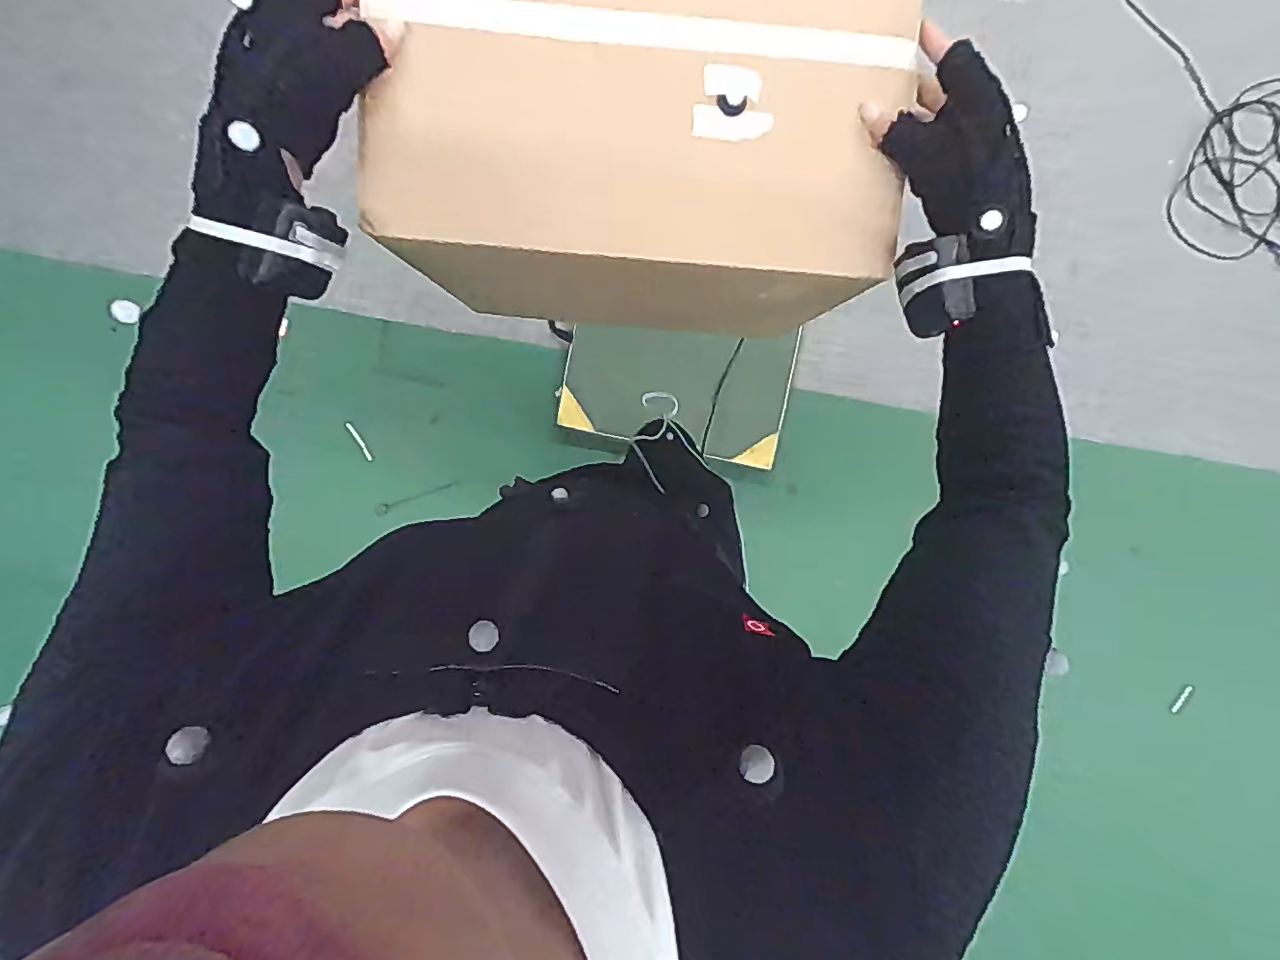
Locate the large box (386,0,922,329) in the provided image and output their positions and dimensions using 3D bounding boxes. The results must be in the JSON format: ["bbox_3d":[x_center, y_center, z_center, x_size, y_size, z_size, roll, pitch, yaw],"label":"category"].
[{"bbox_3d":[0.004,-0.346,0.553,0.408,0.320,0.320,4,97,-4],"label":"large box"}]
